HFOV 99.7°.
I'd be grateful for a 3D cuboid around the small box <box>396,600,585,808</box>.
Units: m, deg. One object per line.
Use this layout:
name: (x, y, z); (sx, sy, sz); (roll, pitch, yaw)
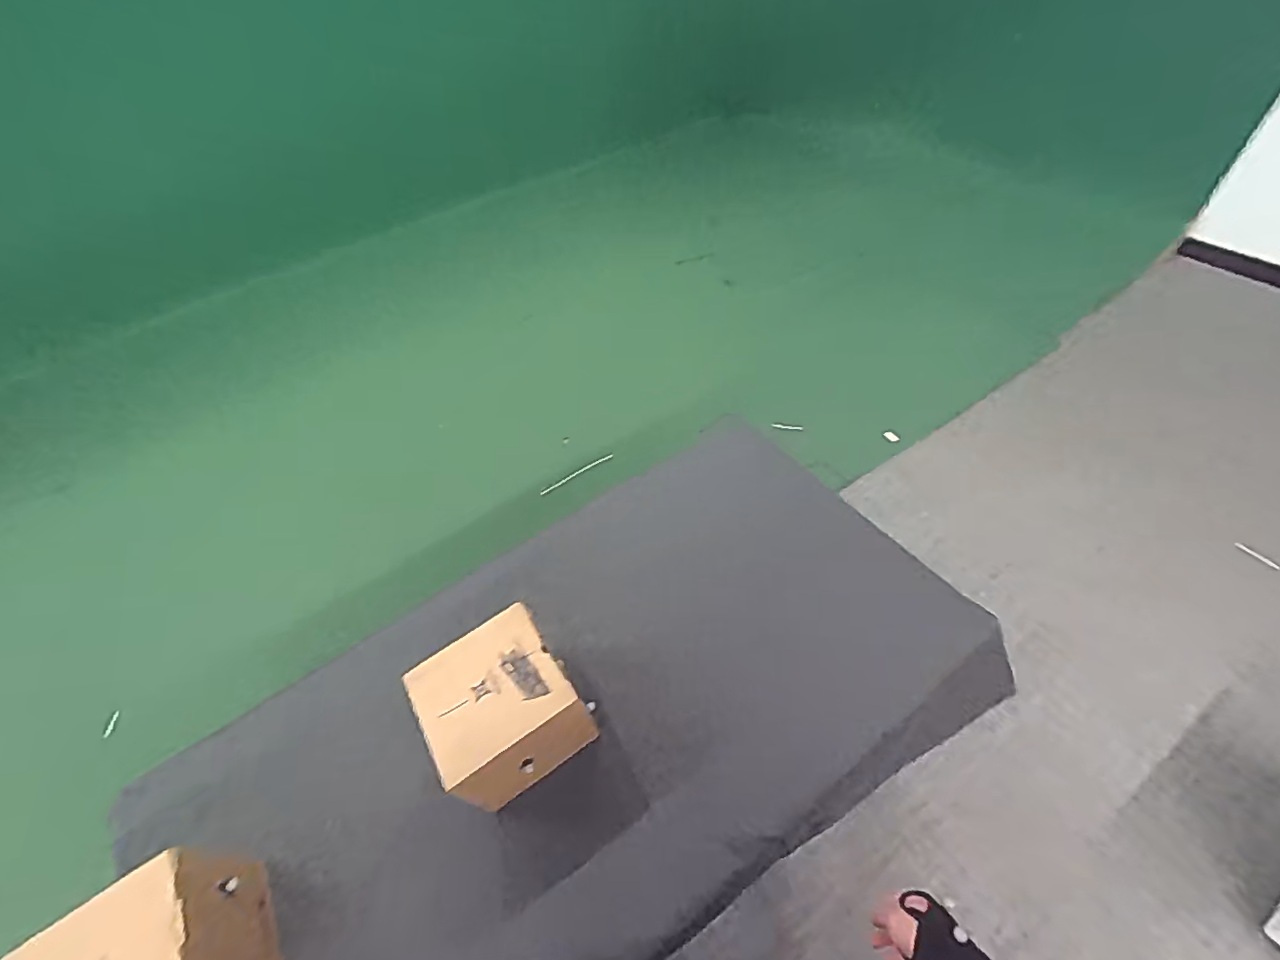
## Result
small box: (-0.187, 0.299, 0.723); (0.179, 0.176, 0.168); (-30, 54, -17)
